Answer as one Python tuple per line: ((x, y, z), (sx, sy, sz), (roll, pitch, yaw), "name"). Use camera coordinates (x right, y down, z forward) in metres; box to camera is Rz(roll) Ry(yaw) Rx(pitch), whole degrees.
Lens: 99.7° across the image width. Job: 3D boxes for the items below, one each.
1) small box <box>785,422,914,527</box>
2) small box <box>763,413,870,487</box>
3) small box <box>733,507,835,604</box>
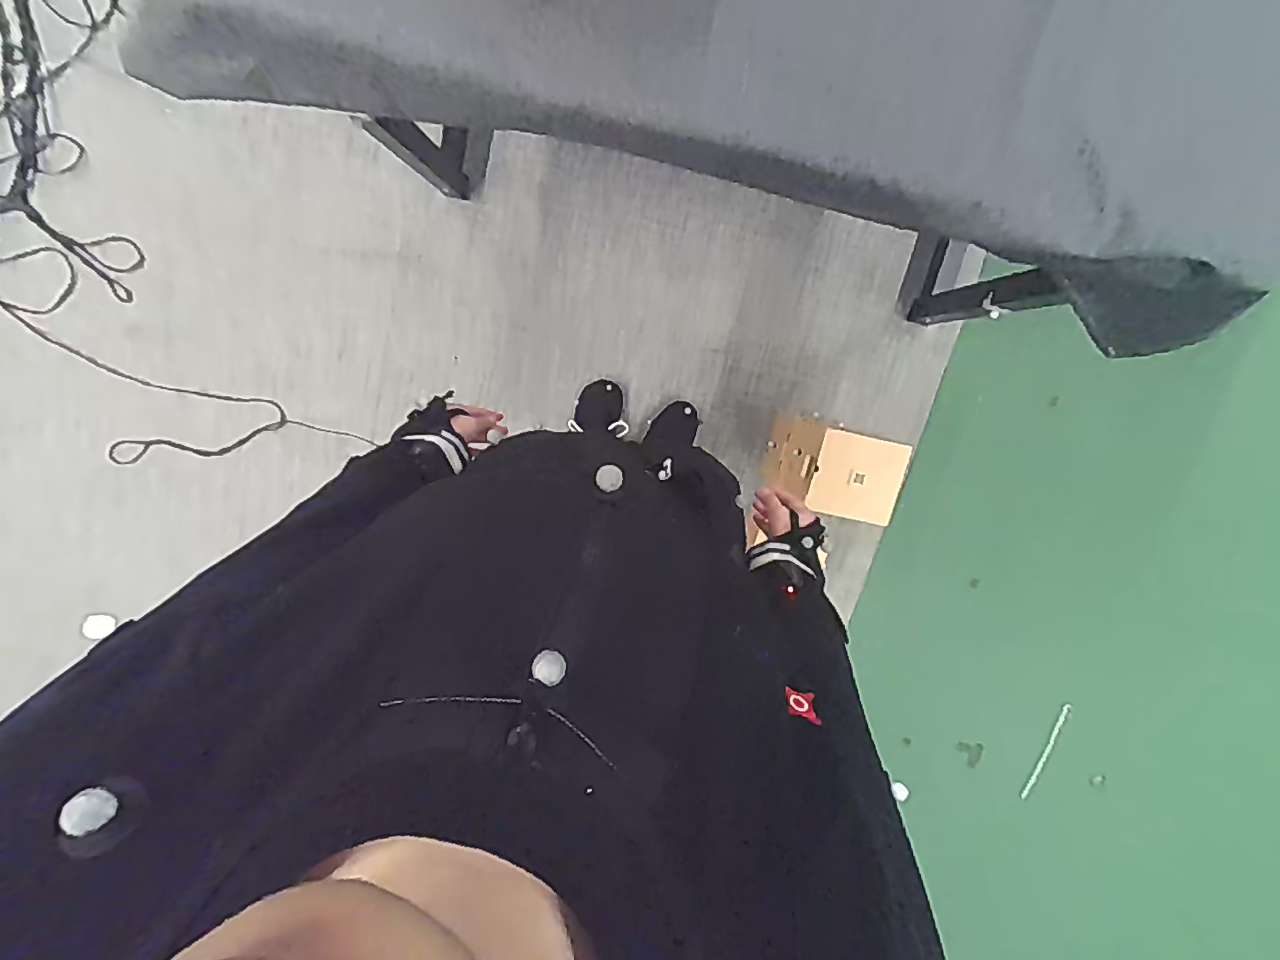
((0.420, -0.019, 1.115), (0.179, 0.176, 0.168), (12, 102, -1), "small box")
((0.405, -0.059, 1.276), (0.179, 0.176, 0.168), (14, 100, -2), "small box")
((0.344, 0.177, 1.326), (0.179, 0.176, 0.168), (17, 100, -1), "small box")
